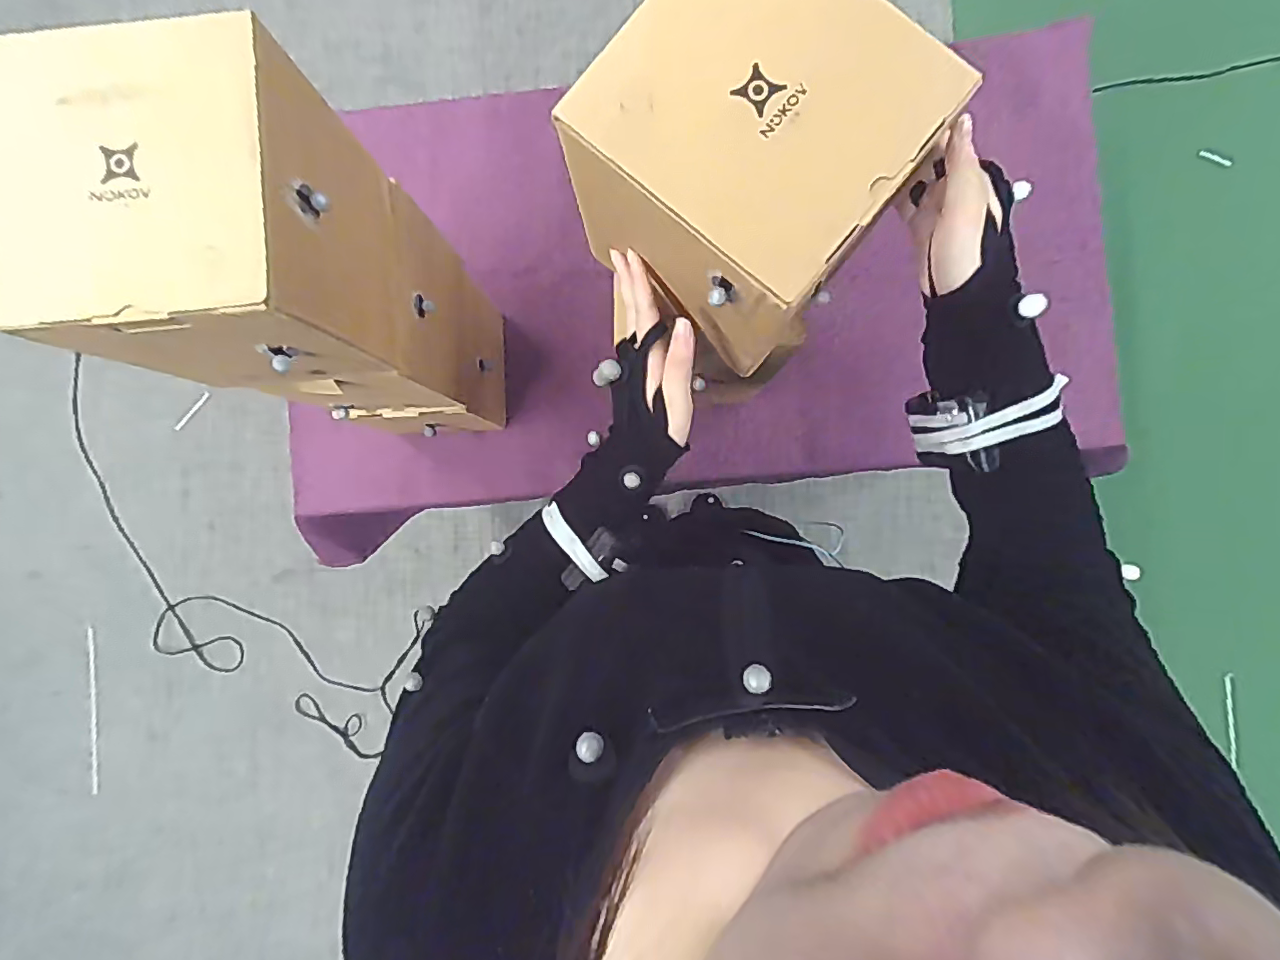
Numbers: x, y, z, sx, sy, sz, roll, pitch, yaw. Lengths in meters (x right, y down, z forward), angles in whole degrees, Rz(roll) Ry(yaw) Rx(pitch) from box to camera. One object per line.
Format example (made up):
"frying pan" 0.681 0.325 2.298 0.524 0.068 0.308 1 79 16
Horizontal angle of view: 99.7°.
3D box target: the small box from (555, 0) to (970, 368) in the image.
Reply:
"small box" 0.068 -0.205 0.381 0.179 0.176 0.168 42 89 2

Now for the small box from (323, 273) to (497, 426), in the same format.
"small box" -0.293 -0.164 0.716 0.168 0.176 0.179 -1 89 0

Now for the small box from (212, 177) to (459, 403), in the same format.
"small box" -0.293 -0.175 0.551 0.168 0.176 0.179 -1 88 1

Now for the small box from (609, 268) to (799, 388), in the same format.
"small box" 0.057 -0.197 0.545 0.168 0.176 0.179 0 89 2

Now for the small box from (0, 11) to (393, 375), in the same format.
"small box" -0.295 -0.176 0.388 0.168 0.176 0.179 -3 88 0
